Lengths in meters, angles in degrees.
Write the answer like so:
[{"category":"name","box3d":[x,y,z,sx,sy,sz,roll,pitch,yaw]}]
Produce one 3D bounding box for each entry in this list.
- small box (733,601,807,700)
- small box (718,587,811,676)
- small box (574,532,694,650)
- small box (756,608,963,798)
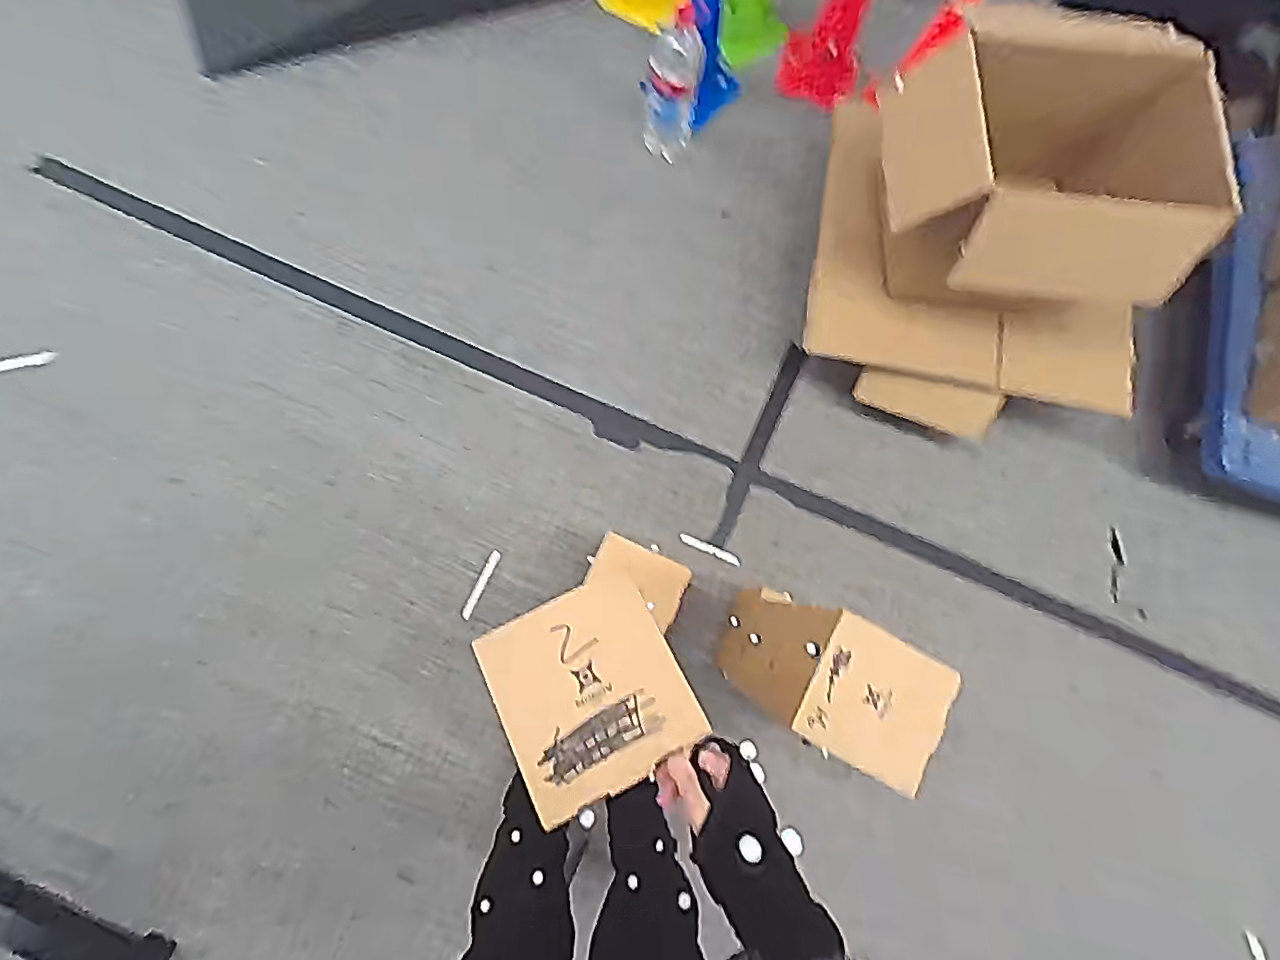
[{"category":"small box","box3d":[0.279,0.316,0.915,0.179,0.176,0.168,27,80,-1]},{"category":"small box","box3d":[0.268,0.327,1.079,0.168,0.176,0.179,25,78,-1]},{"category":"small box","box3d":[-0.017,0.219,1.075,0.179,0.176,0.168,25,79,-1]},{"category":"small box","box3d":[0.291,0.291,0.753,0.179,0.176,0.168,30,79,0]}]
